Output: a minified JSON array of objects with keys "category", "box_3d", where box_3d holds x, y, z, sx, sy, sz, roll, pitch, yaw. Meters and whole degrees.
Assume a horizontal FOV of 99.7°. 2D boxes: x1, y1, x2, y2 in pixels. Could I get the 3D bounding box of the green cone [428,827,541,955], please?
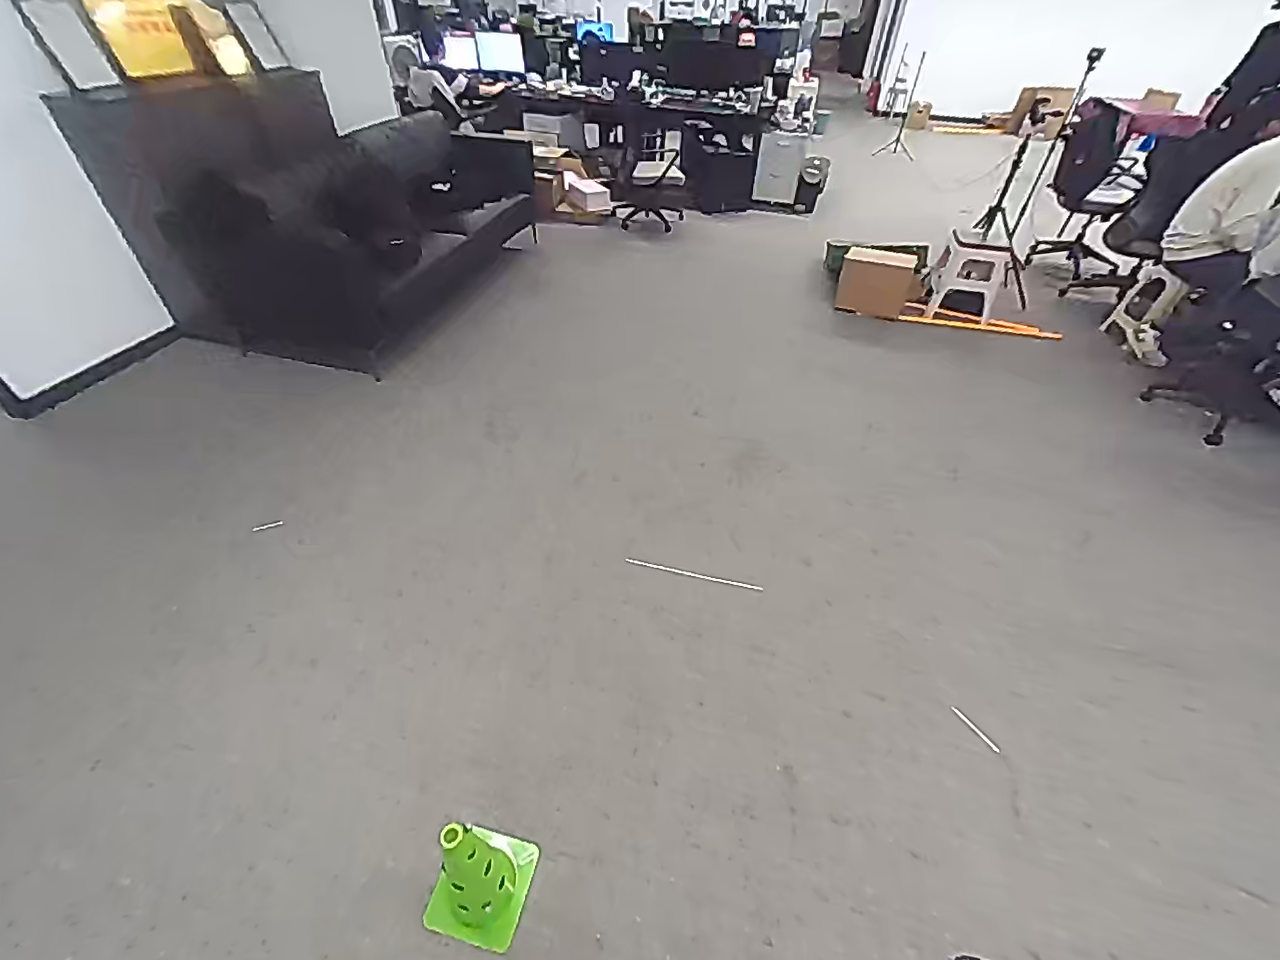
[{"category":"green cone","box_3d":[-0.335,0.781,1.088,0.202,0.368,0.200,11,43,9]}]
